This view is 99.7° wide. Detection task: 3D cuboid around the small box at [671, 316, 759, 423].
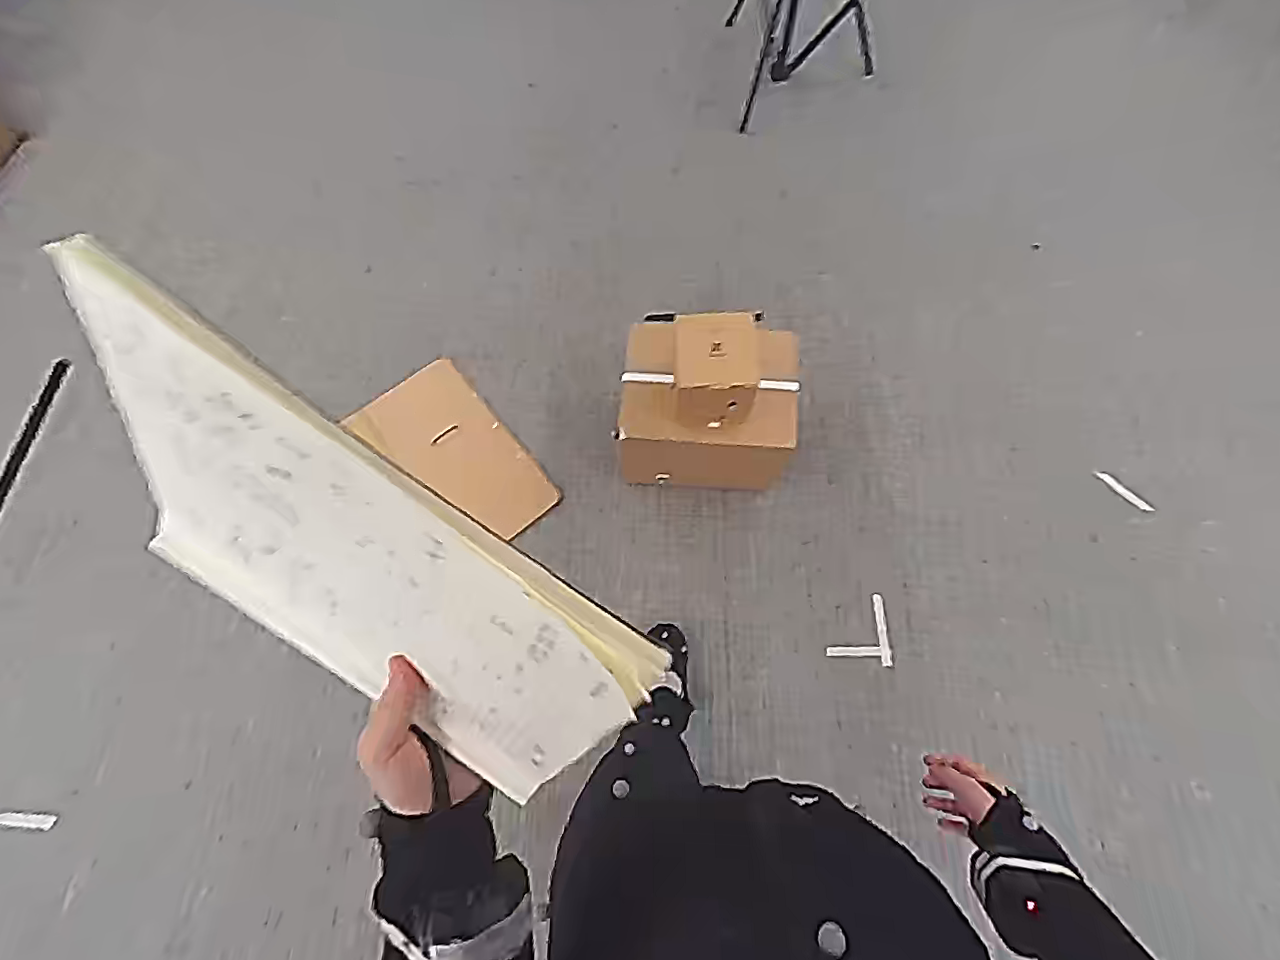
[{"bbox_3d":[0.155,-0.231,1.168,0.168,0.176,0.179,-1,69,0],"label":"small box"}]
